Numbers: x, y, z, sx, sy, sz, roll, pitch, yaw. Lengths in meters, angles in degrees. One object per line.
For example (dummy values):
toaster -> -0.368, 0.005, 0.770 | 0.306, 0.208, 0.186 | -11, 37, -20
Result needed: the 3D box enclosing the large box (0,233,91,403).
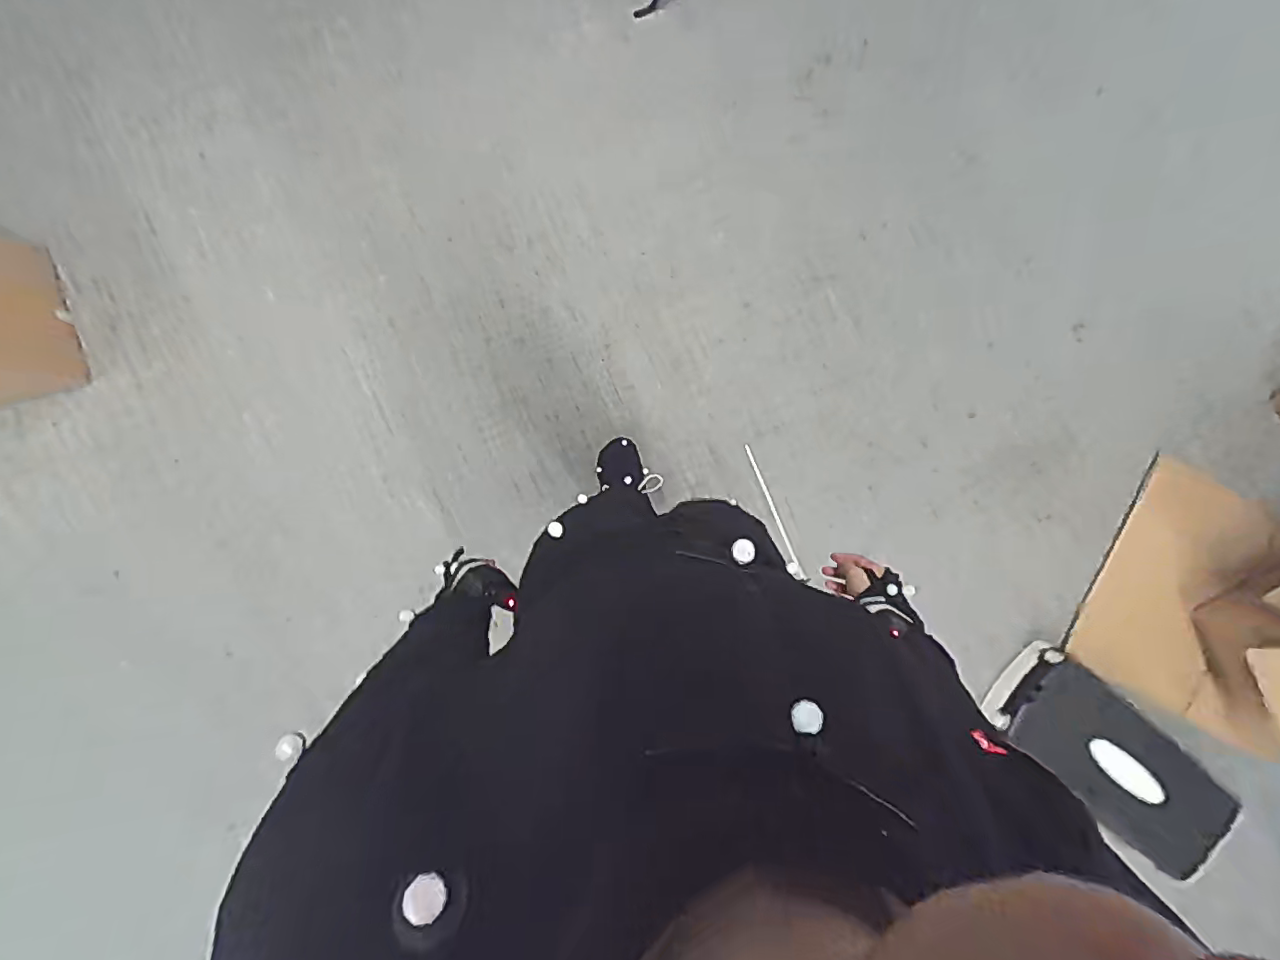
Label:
large box -> -1.498, -0.325, 1.097 | 0.408, 0.320, 0.320 | -17, 92, -5
